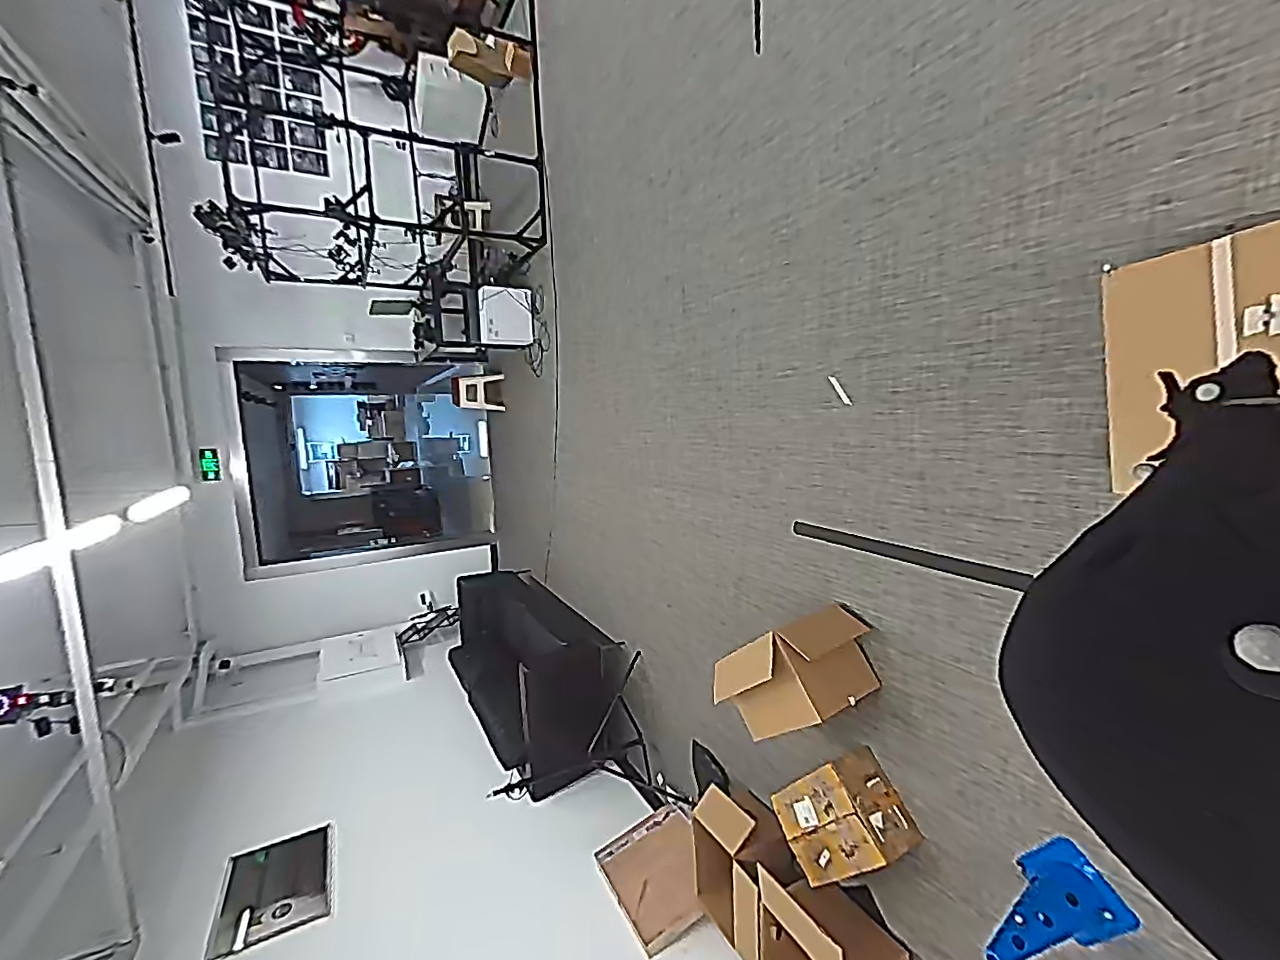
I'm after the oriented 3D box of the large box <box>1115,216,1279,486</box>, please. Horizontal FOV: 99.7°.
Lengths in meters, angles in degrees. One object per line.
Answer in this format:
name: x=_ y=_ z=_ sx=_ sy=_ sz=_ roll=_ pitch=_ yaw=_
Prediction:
large box: x=1.066 y=-0.198 z=0.901 sx=0.320 sy=0.320 sz=0.408 roll=-1 pitch=93 yaw=63
